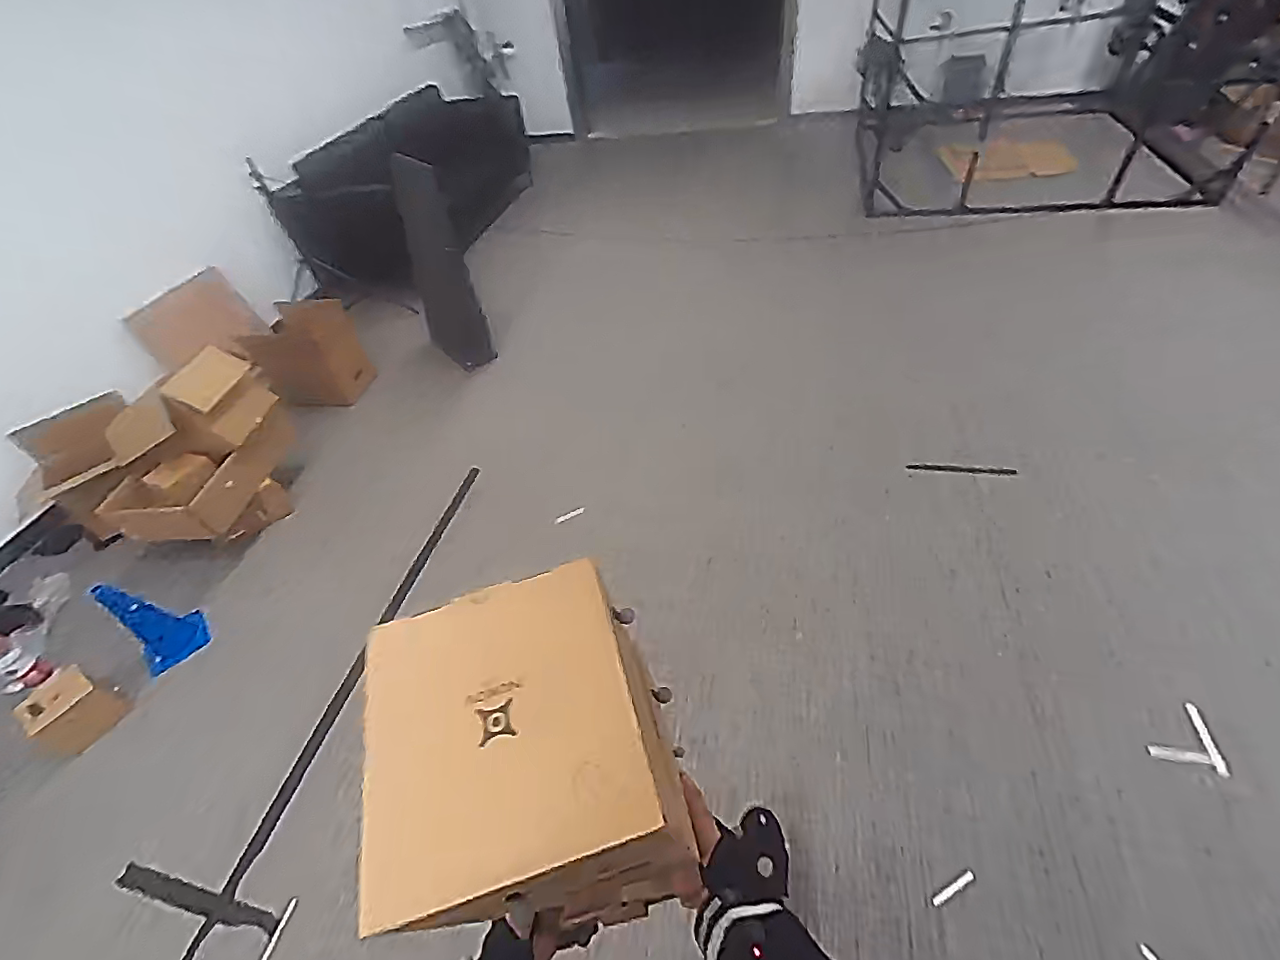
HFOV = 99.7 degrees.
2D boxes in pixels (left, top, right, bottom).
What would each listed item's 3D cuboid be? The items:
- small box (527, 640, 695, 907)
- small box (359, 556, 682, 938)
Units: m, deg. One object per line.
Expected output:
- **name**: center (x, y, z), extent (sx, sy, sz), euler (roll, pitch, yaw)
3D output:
- **small box**: center (-0.051, 0.285, 0.520), extent (0.168, 0.176, 0.179), euler (-16, 52, -2)
- **small box**: center (-0.075, 0.189, 0.390), extent (0.168, 0.176, 0.179), euler (-18, 51, -4)
